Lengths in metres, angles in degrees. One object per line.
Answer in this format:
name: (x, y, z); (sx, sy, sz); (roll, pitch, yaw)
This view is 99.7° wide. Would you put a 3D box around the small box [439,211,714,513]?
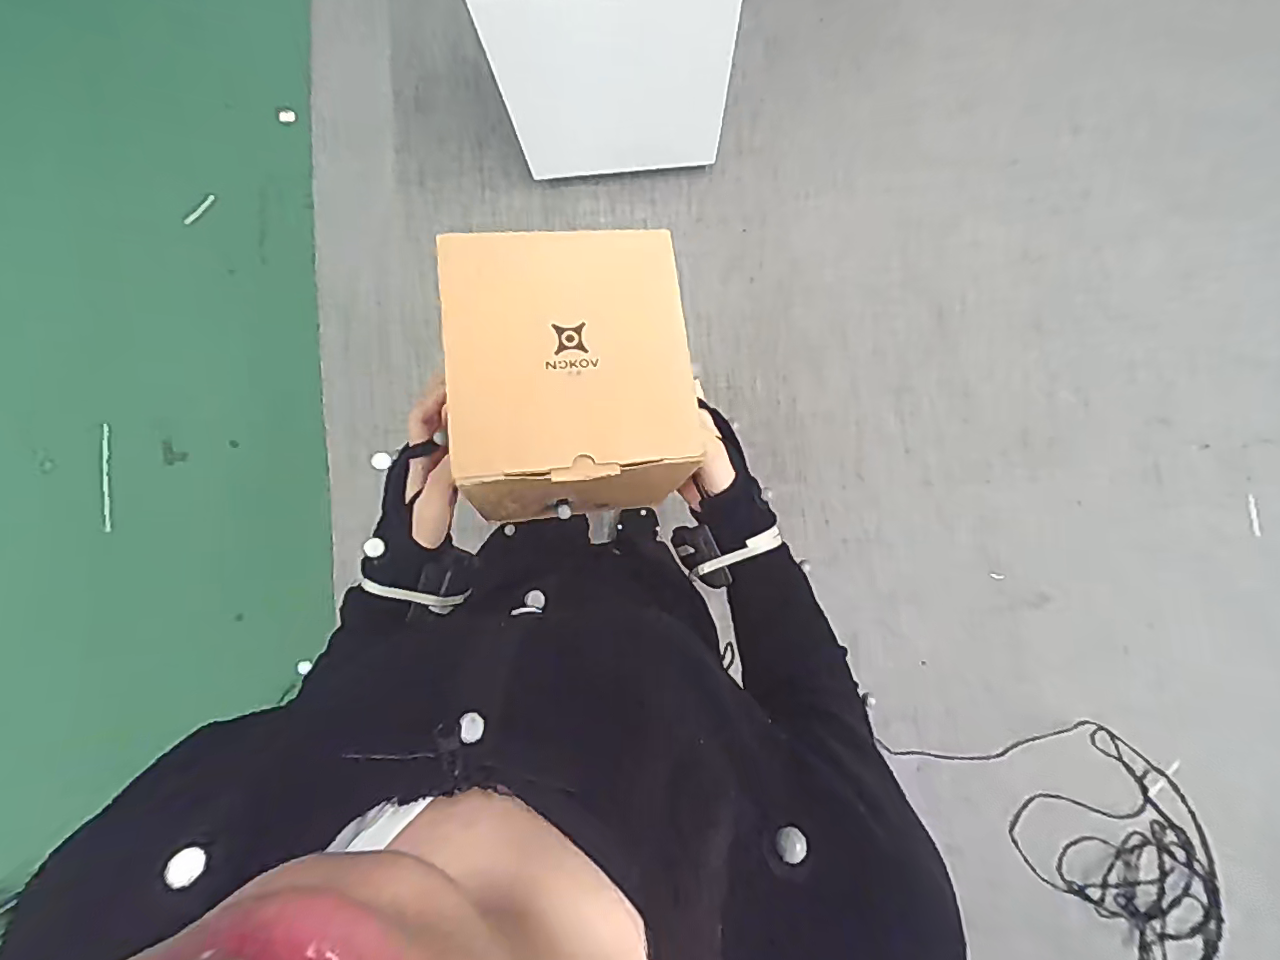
small box: (-0.055, -0.081, 0.427); (0.168, 0.176, 0.179); (-6, 78, -10)
